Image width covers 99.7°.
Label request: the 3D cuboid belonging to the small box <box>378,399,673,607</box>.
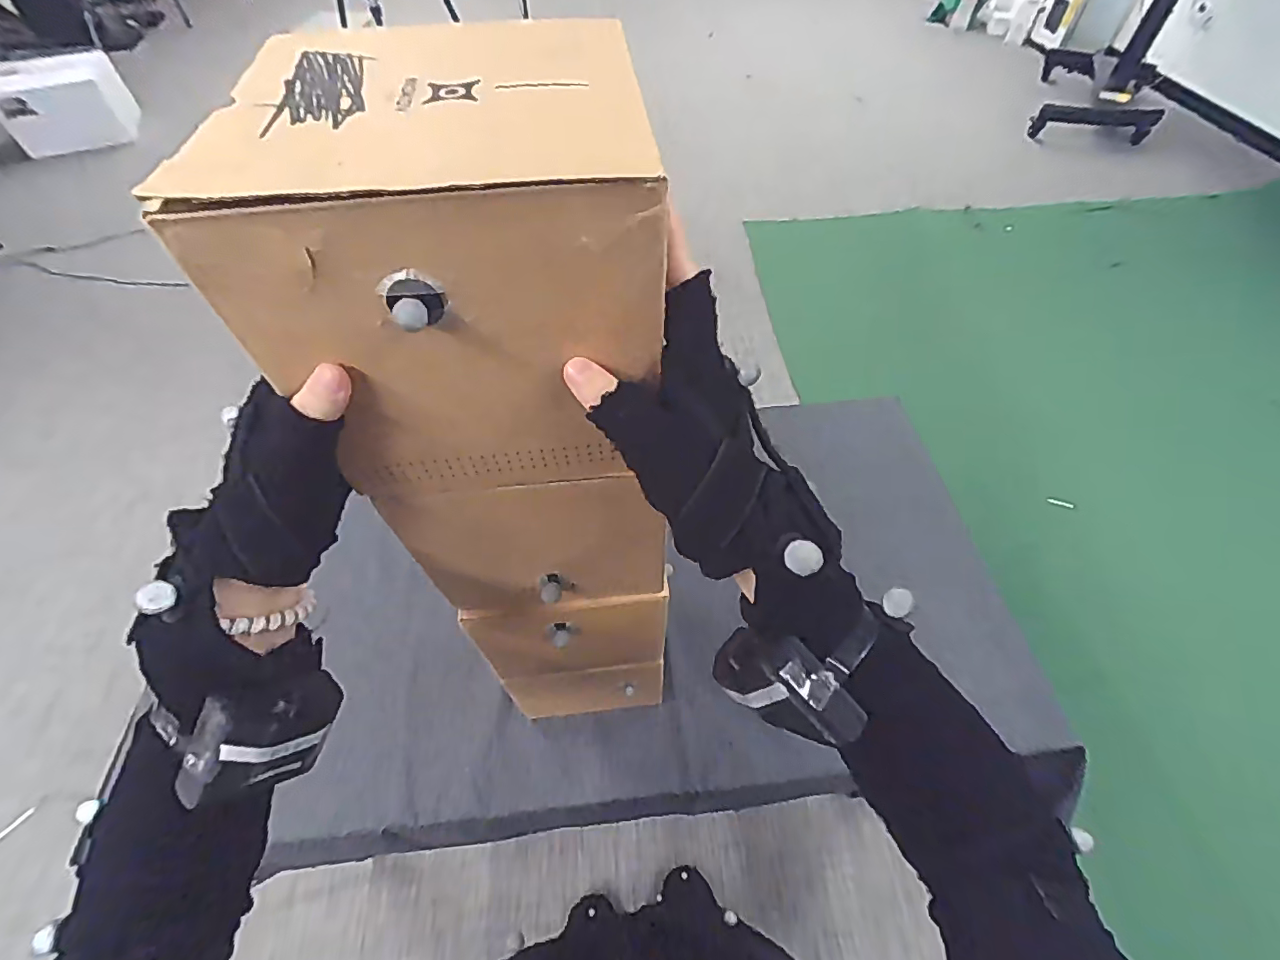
[{"bbox_3d":[-0.073,-0.012,0.430,0.179,0.176,0.168,-4,52,-2],"label":"small box"}]

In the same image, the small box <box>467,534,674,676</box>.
[{"bbox_3d":[-0.066,0.090,0.560,0.179,0.176,0.168,-7,54,-3],"label":"small box"}]

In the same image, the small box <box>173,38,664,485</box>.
[{"bbox_3d":[-0.082,-0.111,0.300,0.179,0.176,0.168,-6,55,-3],"label":"small box"}]
